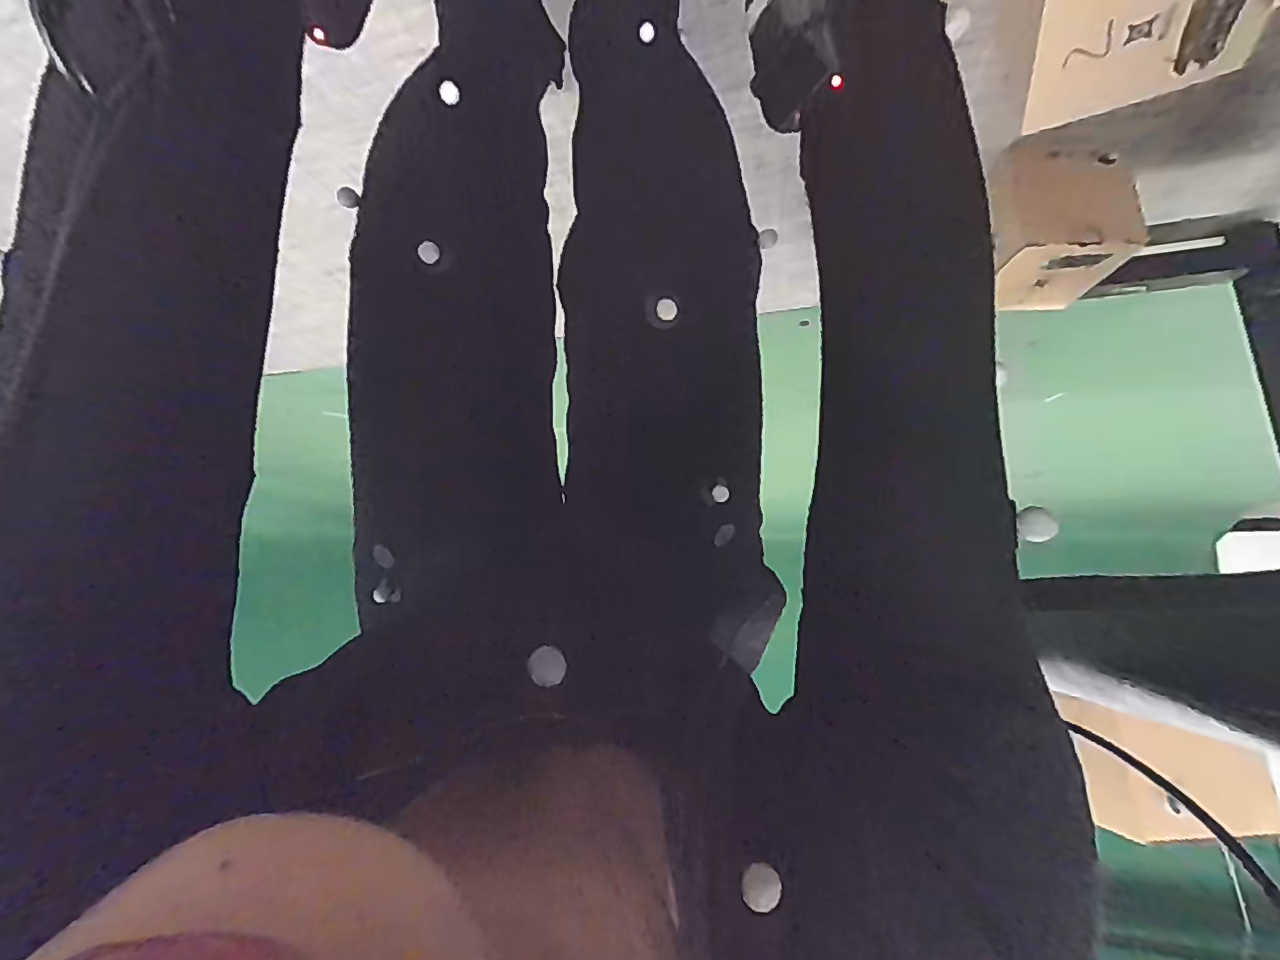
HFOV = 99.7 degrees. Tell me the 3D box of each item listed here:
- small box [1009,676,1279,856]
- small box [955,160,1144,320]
[{"bbox_3d":[0.608,0.341,0.679,0.179,0.176,0.168,0,166,-5],"label":"small box"},{"bbox_3d":[0.619,-0.371,0.846,0.168,0.176,0.179,1,167,4],"label":"small box"}]
